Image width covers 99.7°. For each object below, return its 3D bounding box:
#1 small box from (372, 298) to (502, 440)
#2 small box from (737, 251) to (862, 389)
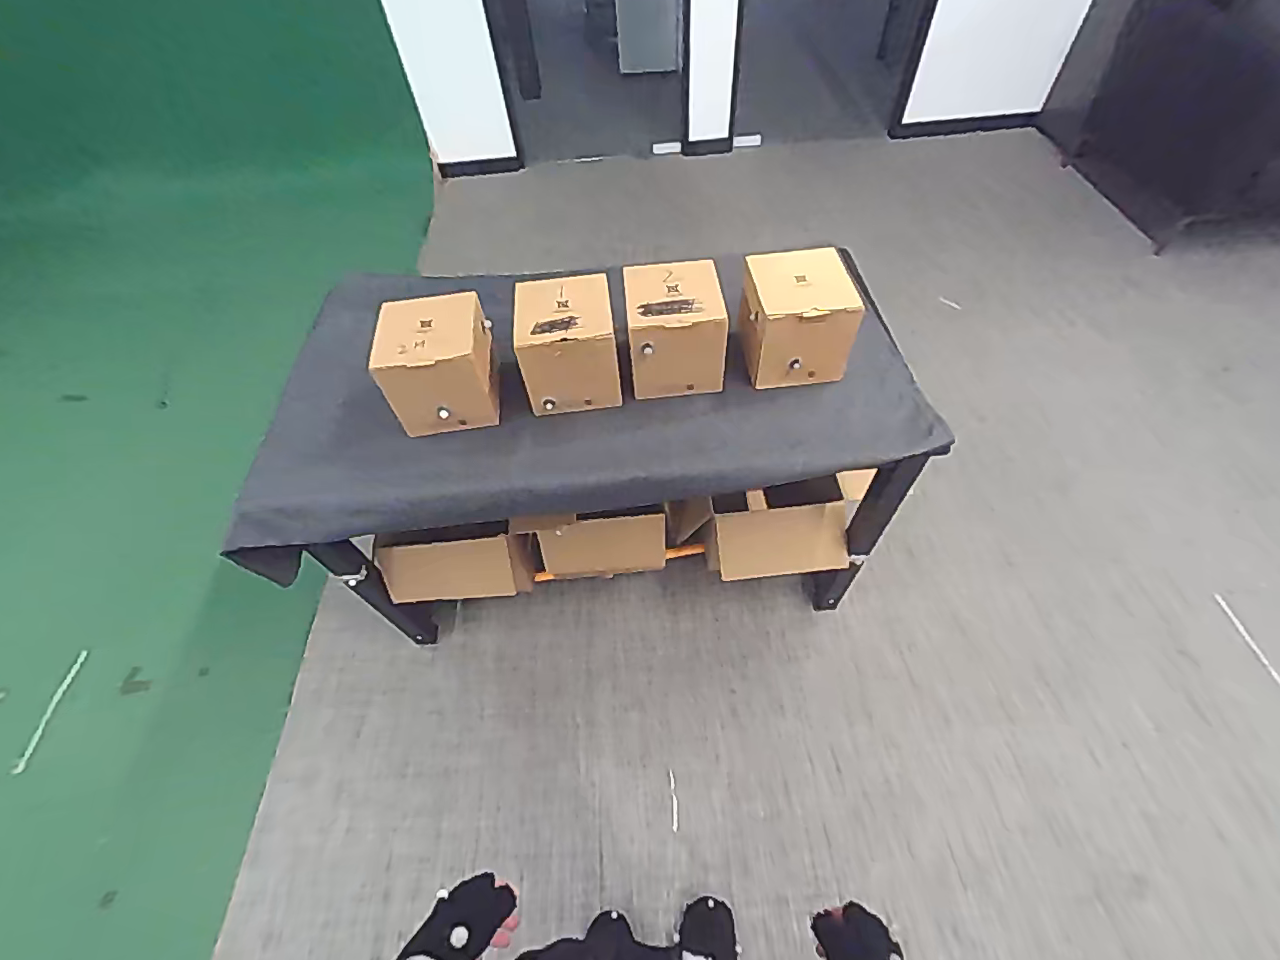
[{"bbox_3d":[-0.353,-0.198,0.975,0.168,0.176,0.179,-9,54,-2],"label":"small box"},{"bbox_3d":[0.281,-0.293,0.998,0.168,0.176,0.179,-7,55,0],"label":"small box"}]
